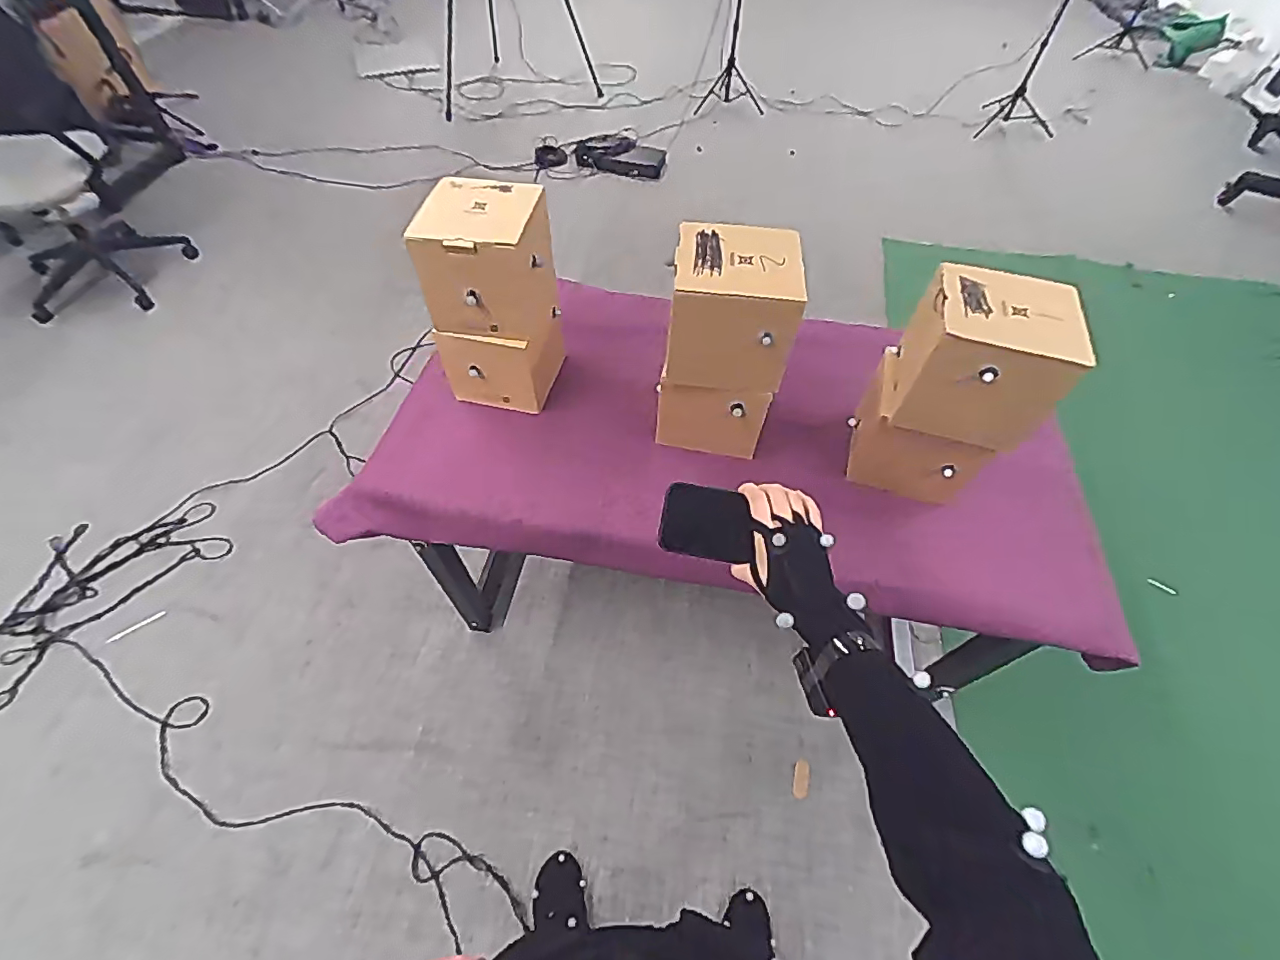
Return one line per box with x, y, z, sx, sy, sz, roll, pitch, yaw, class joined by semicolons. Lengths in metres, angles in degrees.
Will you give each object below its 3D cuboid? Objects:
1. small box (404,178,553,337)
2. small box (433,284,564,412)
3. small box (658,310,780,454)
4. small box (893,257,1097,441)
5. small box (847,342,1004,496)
-0.242;-0.350;0.863;0.168;0.176;0.179;7;55;3;small box
-0.245;-0.248;0.992;0.168;0.176;0.179;10;55;7;small box
0.133;-0.165;0.936;0.179;0.176;0.168;10;55;7;small box
0.471;-0.176;0.749;0.179;0.176;0.168;15;55;9;small box
0.464;-0.094;0.892;0.179;0.176;0.168;15;55;11;small box
